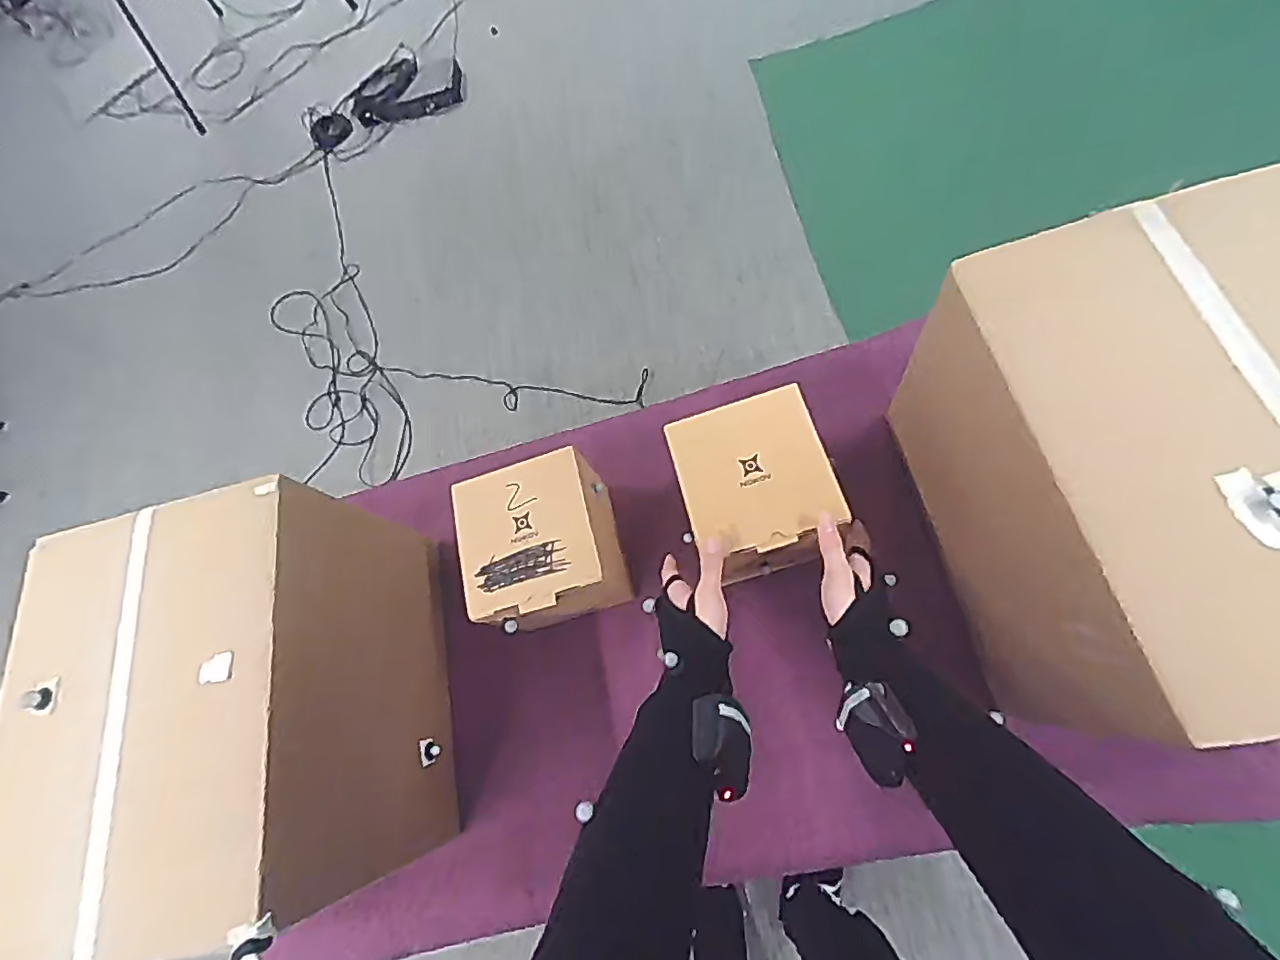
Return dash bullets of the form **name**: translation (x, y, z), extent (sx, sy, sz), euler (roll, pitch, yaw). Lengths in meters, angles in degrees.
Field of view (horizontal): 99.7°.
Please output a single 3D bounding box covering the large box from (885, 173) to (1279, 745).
- **large box**: translation (0.493, -0.002, 0.533), extent (0.320, 0.320, 0.408), euler (-15, 69, 8)
